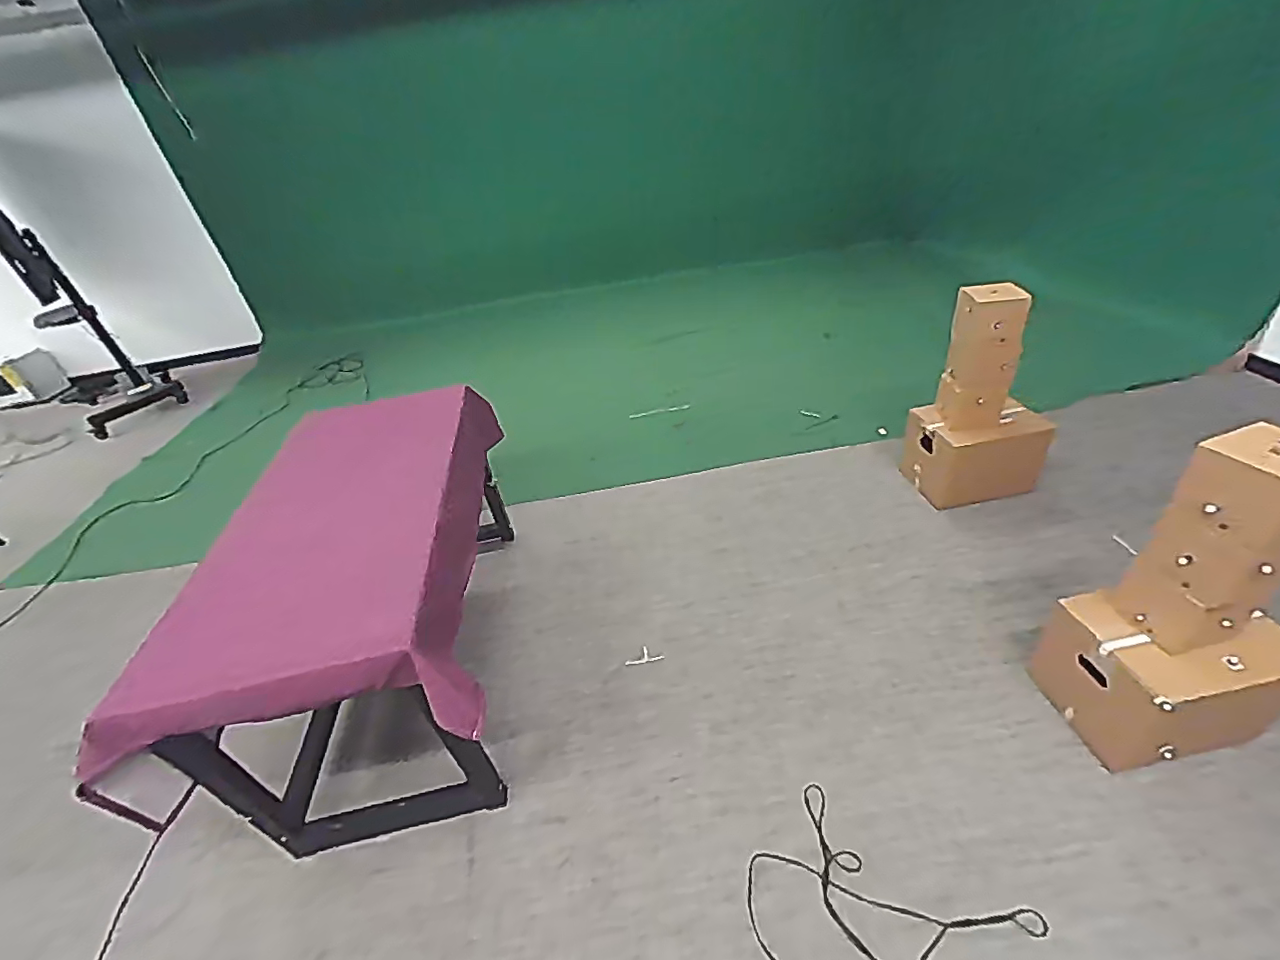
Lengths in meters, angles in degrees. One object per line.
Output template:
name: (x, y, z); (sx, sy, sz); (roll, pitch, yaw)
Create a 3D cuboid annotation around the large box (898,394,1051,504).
large box: (1.351, -0.138, 2.227); (0.408, 0.320, 0.320); (-10, 36, -3)

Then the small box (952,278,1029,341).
small box: (1.230, -0.597, 1.908); (0.168, 0.176, 0.179); (-2, 36, 10)

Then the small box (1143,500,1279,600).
small box: (1.268, 0.137, 1.188); (0.179, 0.176, 0.168); (-16, 36, -8)

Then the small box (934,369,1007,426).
small box: (1.269, -0.325, 2.087); (0.179, 0.176, 0.168); (-5, 36, 7)

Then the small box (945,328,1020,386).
small box: (1.256, -0.460, 1.997); (0.179, 0.176, 0.168); (-3, 35, 10)

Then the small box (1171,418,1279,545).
small box: (1.247, 0.003, 1.093); (0.179, 0.176, 0.168); (-17, 35, -9)
